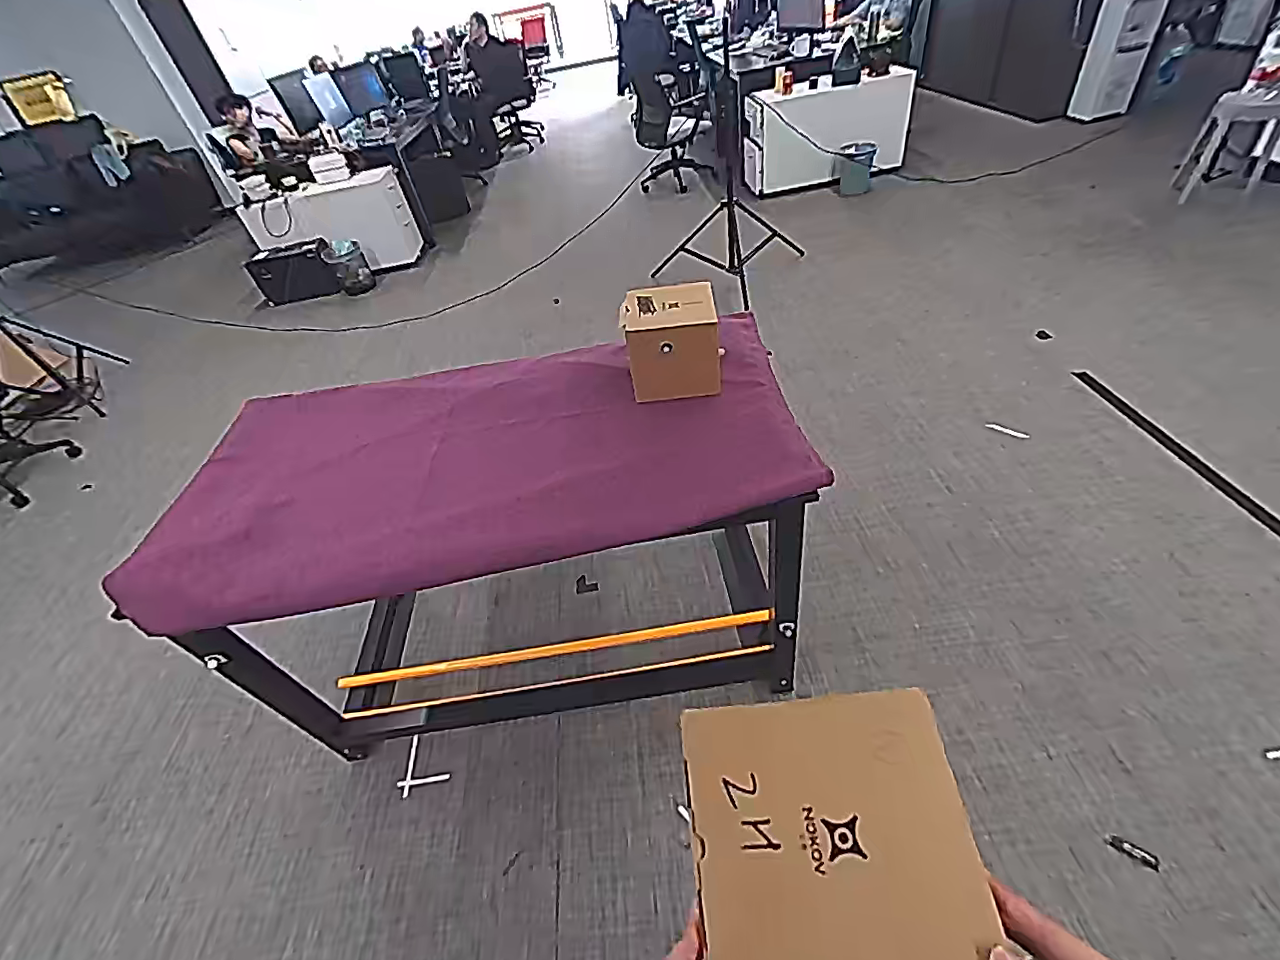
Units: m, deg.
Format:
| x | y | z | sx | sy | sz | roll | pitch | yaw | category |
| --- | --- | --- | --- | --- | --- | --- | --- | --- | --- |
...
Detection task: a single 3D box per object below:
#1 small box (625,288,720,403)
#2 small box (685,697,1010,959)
| x | y | z | sx | sy | sz | roll | pitch | yaw | category |
| --- | --- | --- | --- | --- | --- | --- | --- | --- | --- |
| 0.069 | -0.274 | 1.119 | 0.179 | 0.176 | 0.168 | -5 | 45 | 6 | small box |
| 0.131 | 0.270 | 0.414 | 0.179 | 0.176 | 0.168 | -7 | 59 | 4 | small box |
